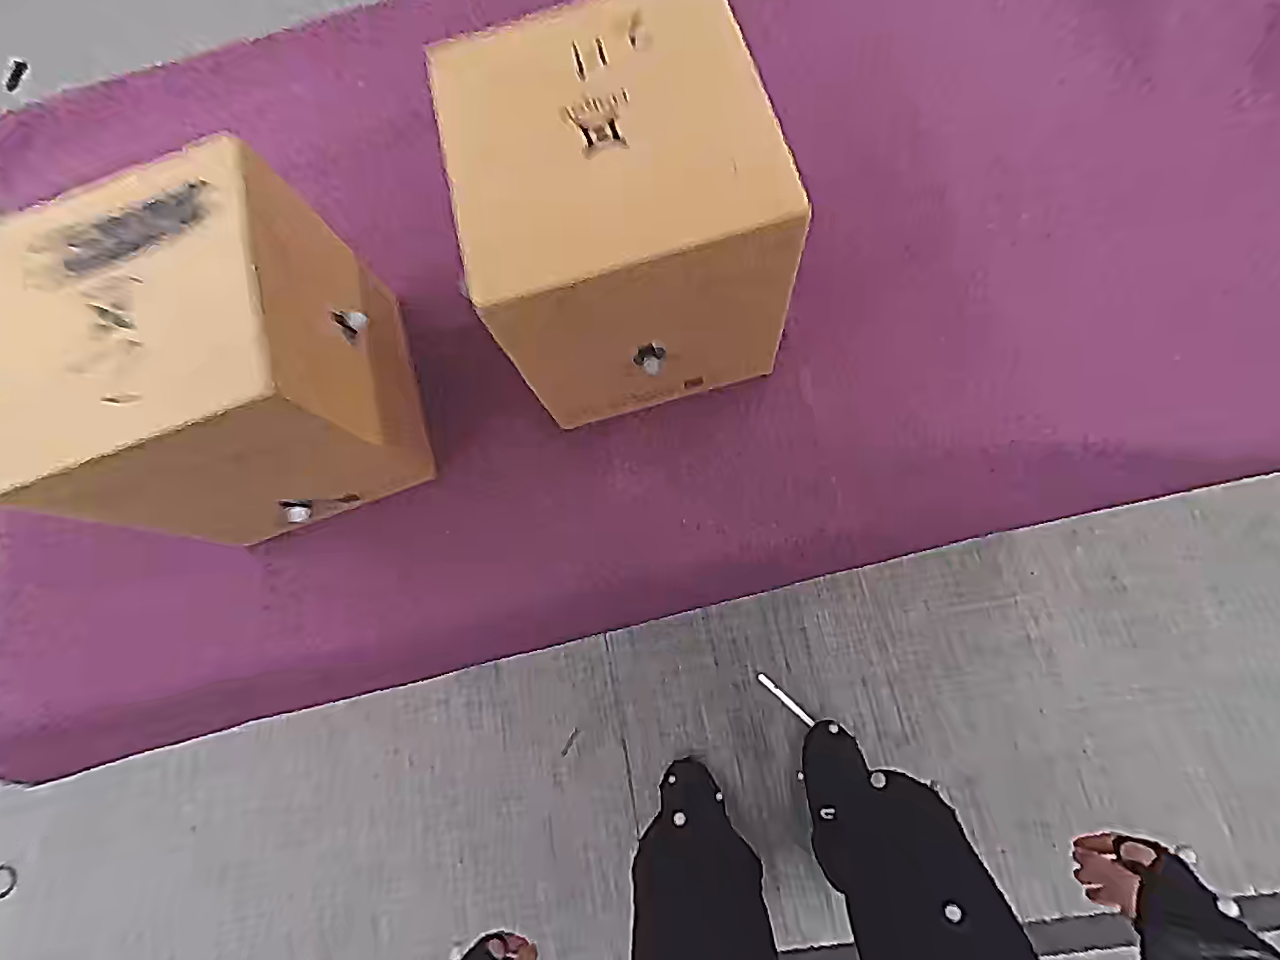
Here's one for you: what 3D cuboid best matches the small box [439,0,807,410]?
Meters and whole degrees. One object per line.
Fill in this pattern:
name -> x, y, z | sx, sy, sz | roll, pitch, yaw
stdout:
small box -> -0.007, -0.160, 0.354 | 0.168, 0.176, 0.179 | -15, 73, 2
